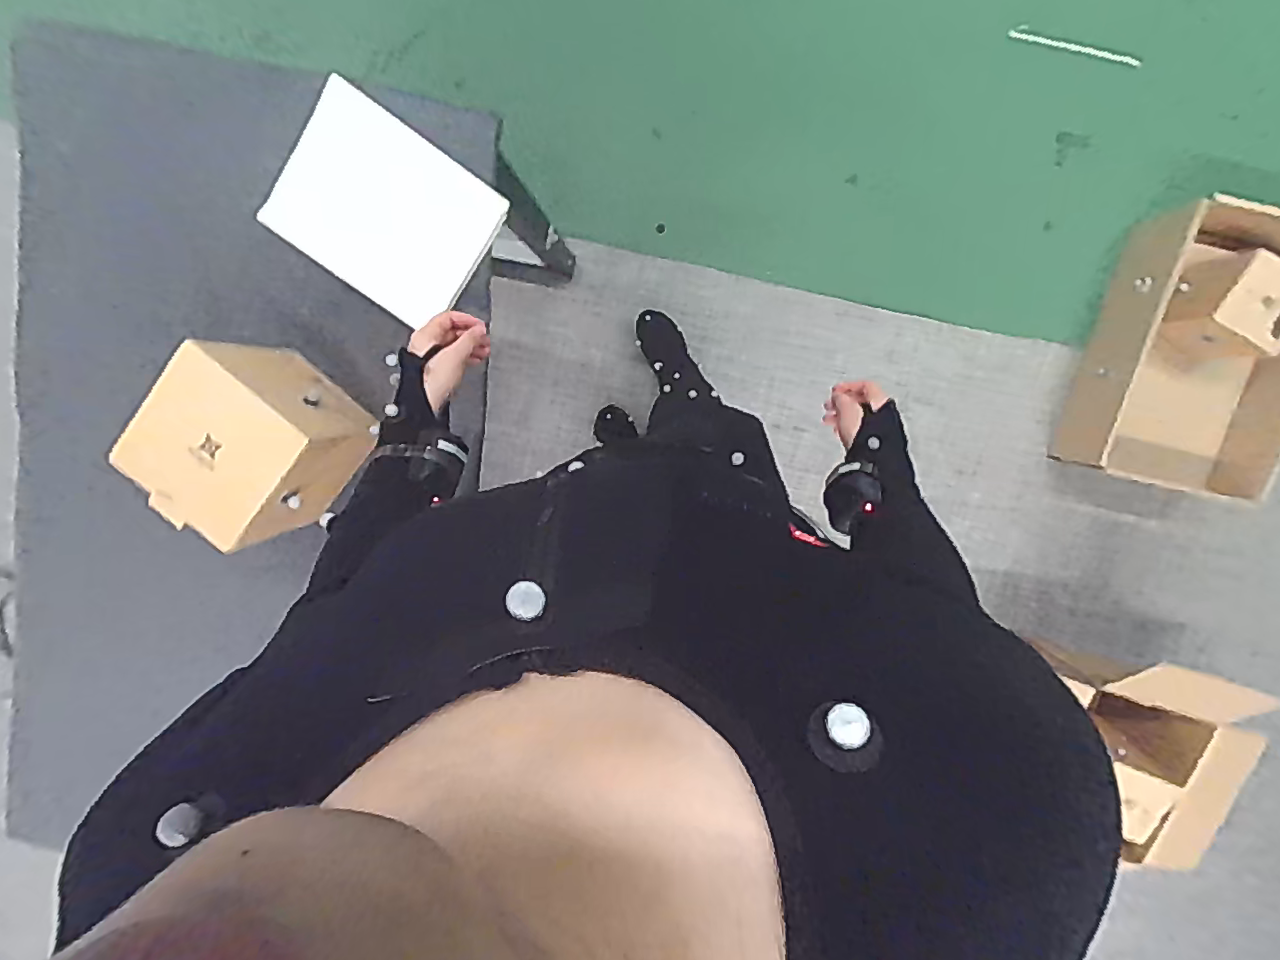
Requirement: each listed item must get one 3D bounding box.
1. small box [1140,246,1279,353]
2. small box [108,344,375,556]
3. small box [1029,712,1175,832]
[{"bbox_3d":[1.335,-0.407,1.244,0.179,0.176,0.168,27,101,-4],"label":"small box"},{"bbox_3d":[-0.463,-0.044,0.662,0.168,0.176,0.179,40,100,-5],"label":"small box"},{"bbox_3d":[1.110,0.699,1.318,0.179,0.176,0.168,22,104,-2],"label":"small box"}]
